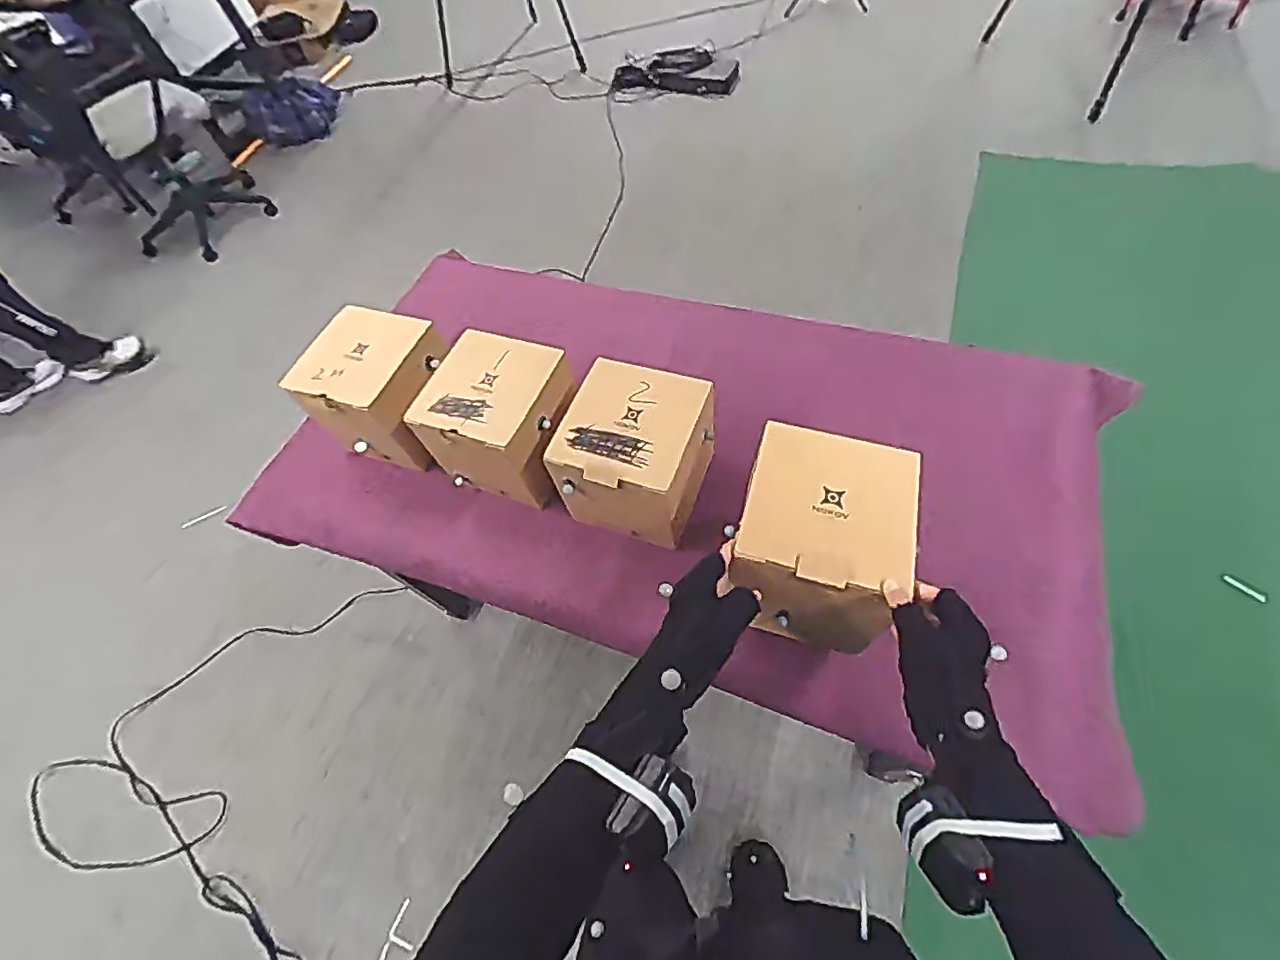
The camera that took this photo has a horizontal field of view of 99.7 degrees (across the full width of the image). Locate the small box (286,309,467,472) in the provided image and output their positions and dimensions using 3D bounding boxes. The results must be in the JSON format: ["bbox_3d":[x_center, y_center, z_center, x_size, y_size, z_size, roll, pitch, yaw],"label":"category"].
[{"bbox_3d":[-0.405,-0.141,0.873,0.168,0.176,0.179,14,63,16],"label":"small box"}]

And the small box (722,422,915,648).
[{"bbox_3d":[0.195,0.066,0.619,0.168,0.176,0.179,14,58,12],"label":"small box"}]
